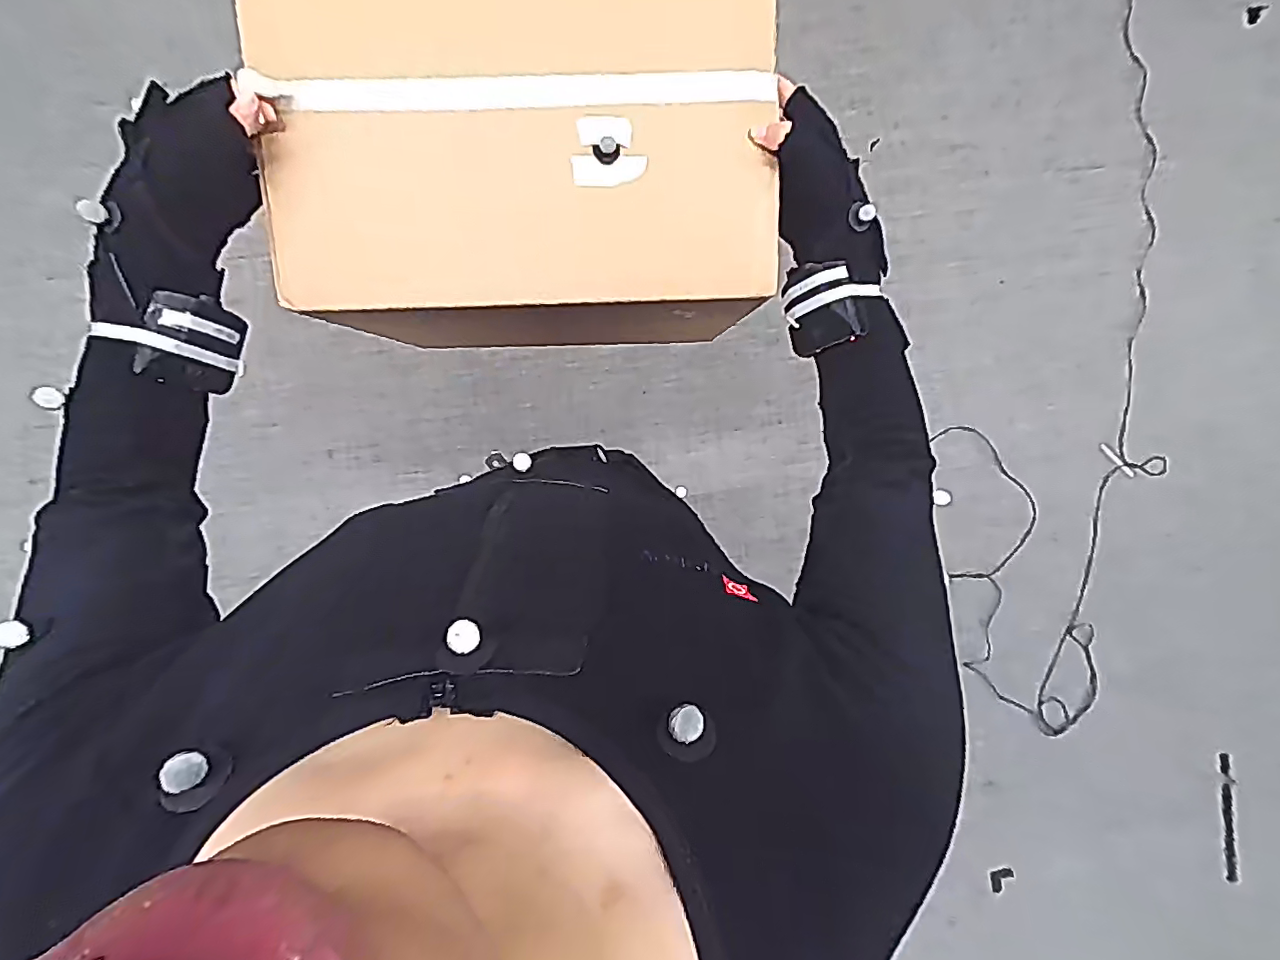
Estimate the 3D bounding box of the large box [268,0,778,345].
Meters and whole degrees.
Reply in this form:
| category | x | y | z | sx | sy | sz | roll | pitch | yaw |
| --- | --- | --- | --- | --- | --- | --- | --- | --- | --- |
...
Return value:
| category | x | y | z | sx | sy | sz | roll | pitch | yaw |
| --- | --- | --- | --- | --- | --- | --- | --- | --- | --- |
| large box | -0.095 | -0.328 | 0.582 | 0.408 | 0.320 | 0.320 | -3 | 98 | -3 |
